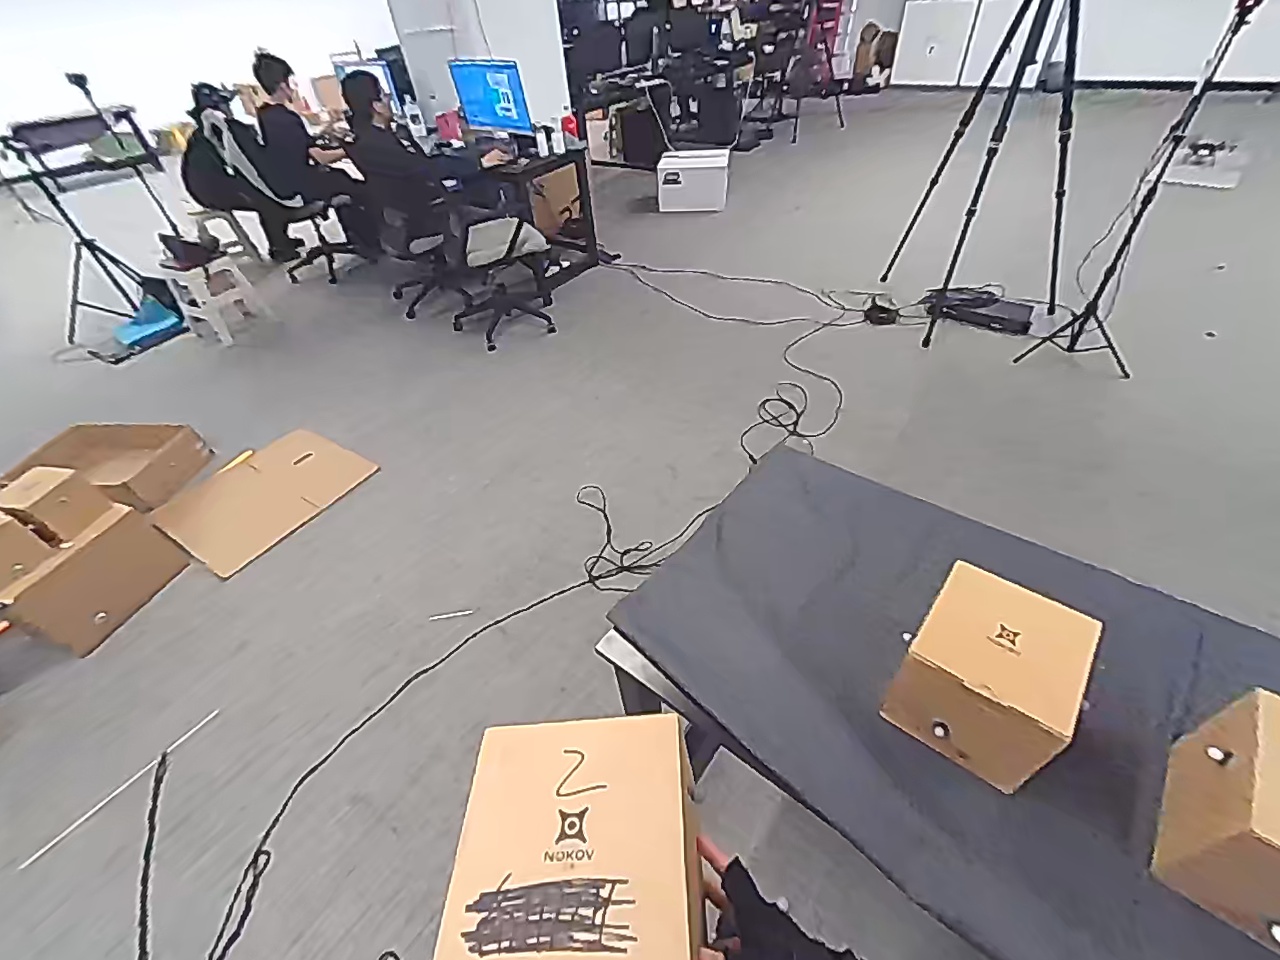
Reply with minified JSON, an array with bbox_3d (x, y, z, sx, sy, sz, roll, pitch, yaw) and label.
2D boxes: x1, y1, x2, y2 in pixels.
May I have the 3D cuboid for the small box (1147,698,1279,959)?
[{"bbox_3d":[0.669,0.371,0.551,0.168,0.176,0.179,28,52,31],"label":"small box"}]

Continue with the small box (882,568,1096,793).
[{"bbox_3d":[0.438,0.256,0.700,0.168,0.176,0.179,28,52,30],"label":"small box"}]
